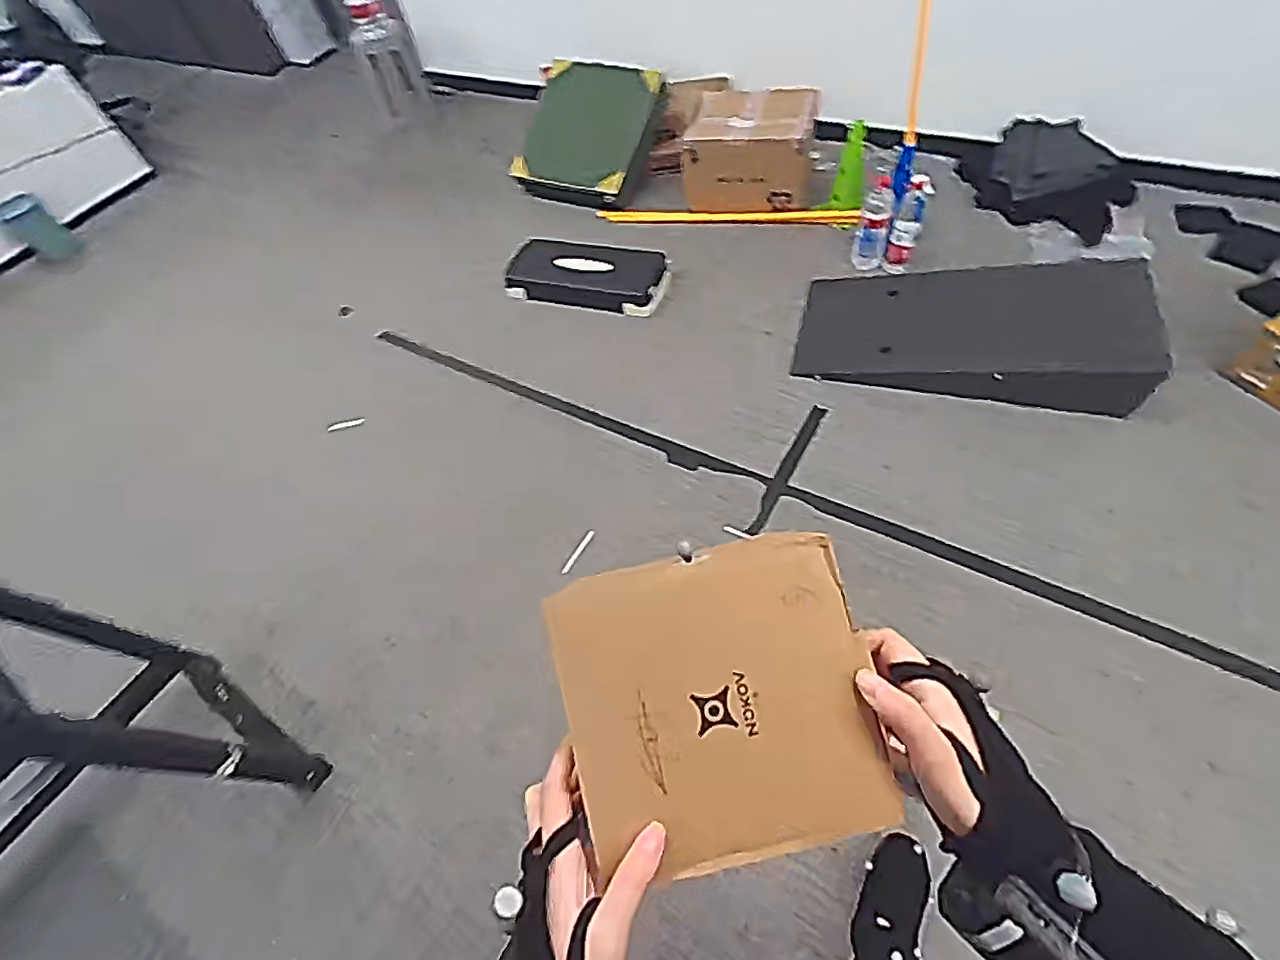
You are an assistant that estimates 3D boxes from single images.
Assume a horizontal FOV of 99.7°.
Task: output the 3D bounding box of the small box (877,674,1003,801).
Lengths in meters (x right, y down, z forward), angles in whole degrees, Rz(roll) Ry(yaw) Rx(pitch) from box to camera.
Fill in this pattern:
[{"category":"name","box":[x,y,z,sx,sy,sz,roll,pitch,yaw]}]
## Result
[{"category":"small box","box":[0.628,0.550,1.152,0.168,0.176,0.179,26,65,23]}]
